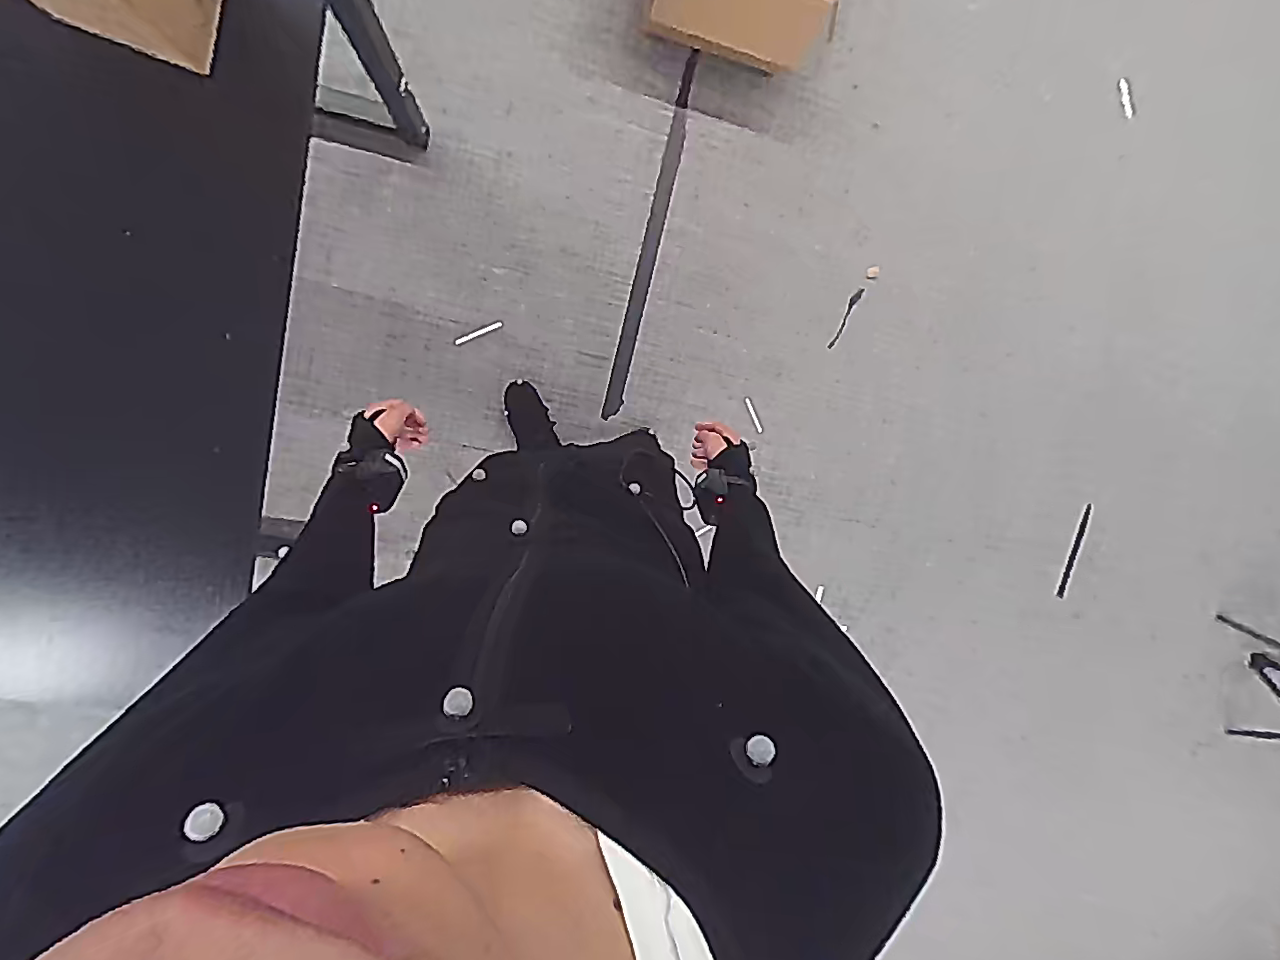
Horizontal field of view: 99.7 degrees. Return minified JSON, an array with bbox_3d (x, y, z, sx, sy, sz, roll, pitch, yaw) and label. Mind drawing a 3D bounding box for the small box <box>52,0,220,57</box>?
[{"bbox_3d":[-0.605,-0.621,0.594,0.179,0.176,0.168,16,99,-13],"label":"small box"}]
